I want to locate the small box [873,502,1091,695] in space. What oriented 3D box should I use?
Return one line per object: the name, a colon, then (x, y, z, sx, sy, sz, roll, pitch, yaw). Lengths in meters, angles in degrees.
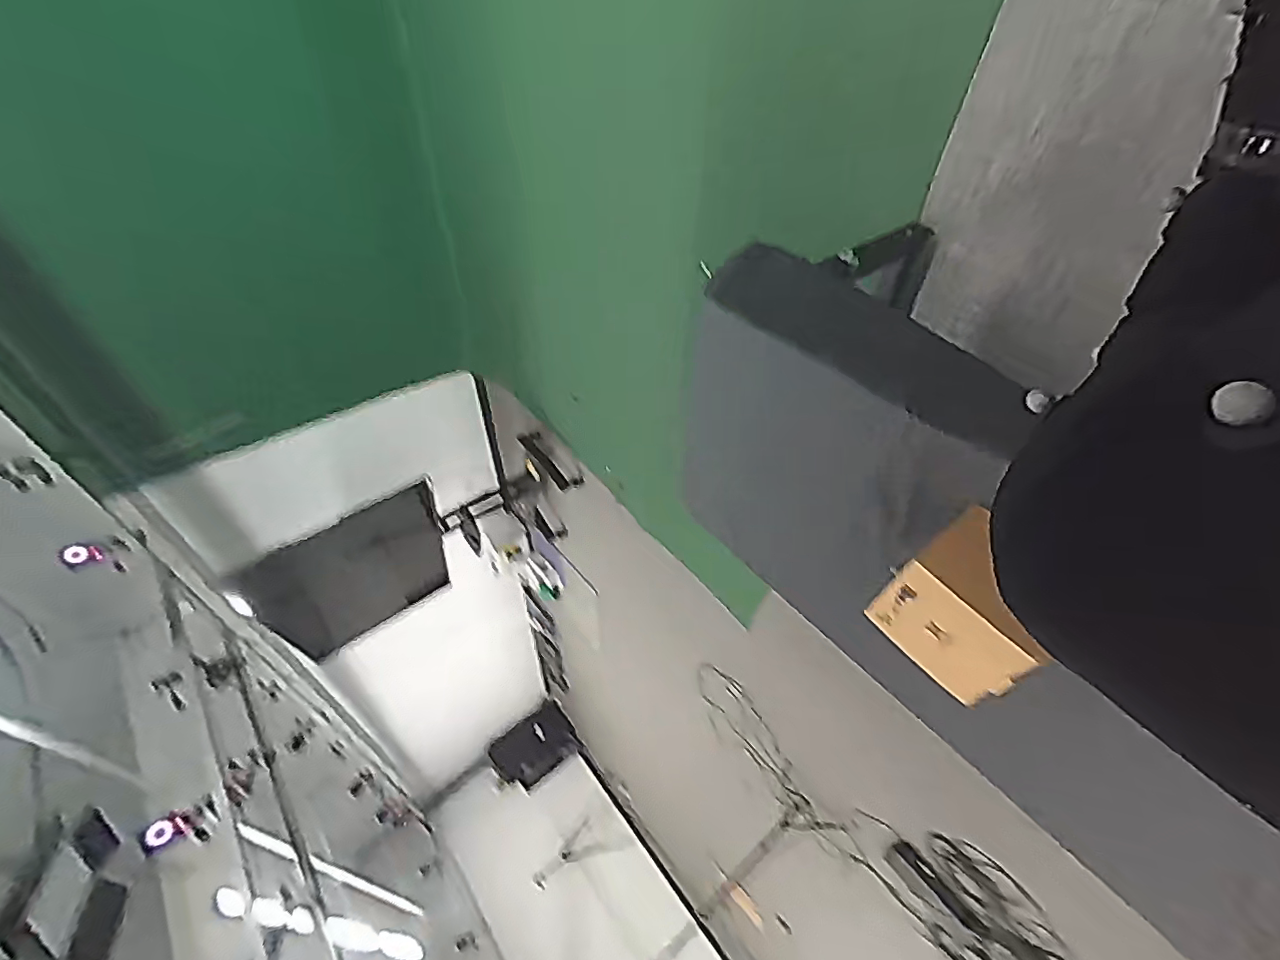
small box: (0.482, 0.164, 0.773, 0.179, 0.176, 0.168, 45, 151, 30)
